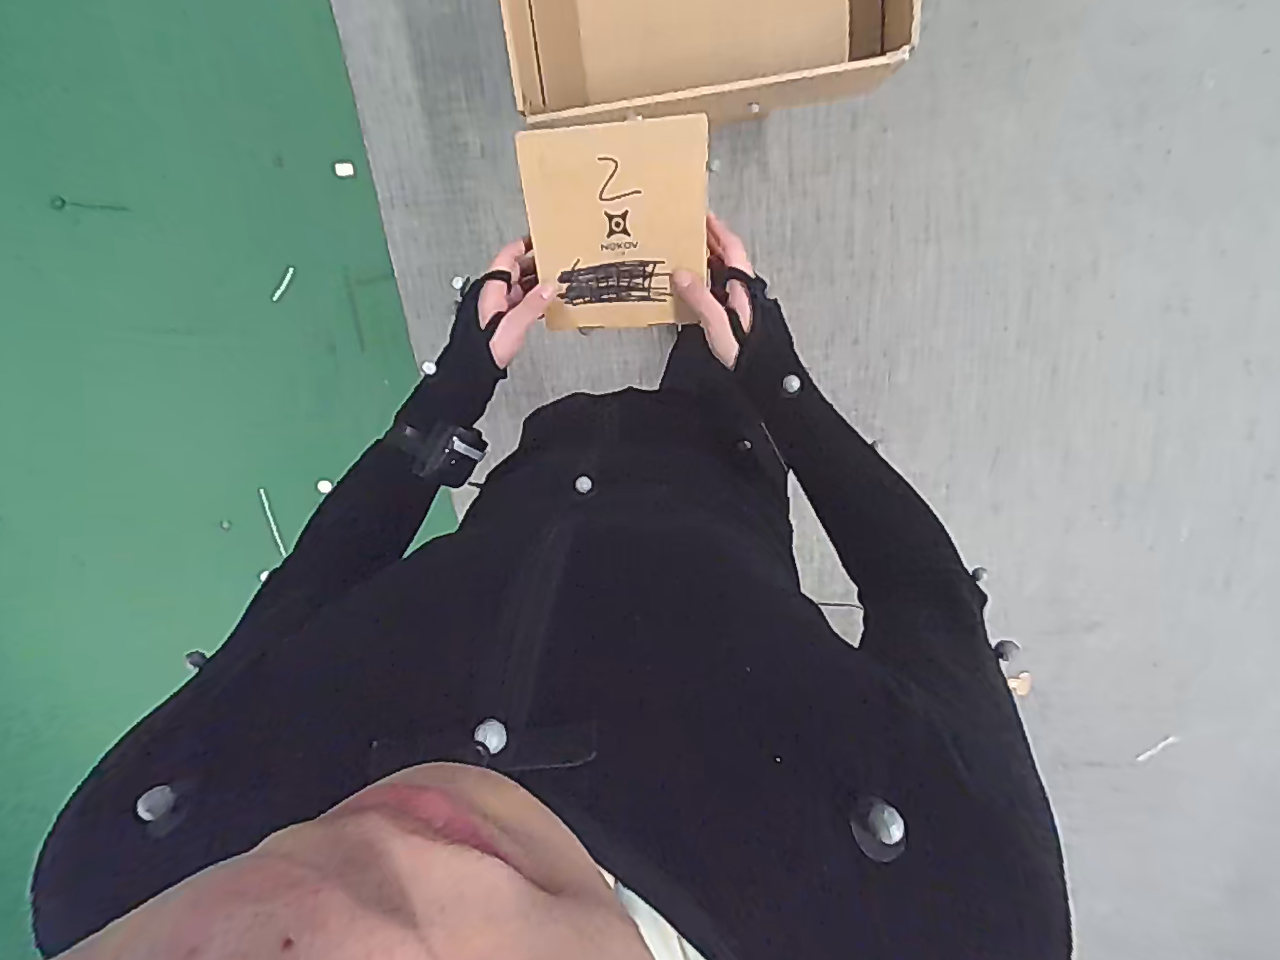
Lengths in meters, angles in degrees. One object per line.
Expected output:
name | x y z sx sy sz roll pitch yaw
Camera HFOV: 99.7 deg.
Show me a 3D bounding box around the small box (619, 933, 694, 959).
small box | 0.039 1.144 1.187 0.168 0.176 0.179 -5 110 6
